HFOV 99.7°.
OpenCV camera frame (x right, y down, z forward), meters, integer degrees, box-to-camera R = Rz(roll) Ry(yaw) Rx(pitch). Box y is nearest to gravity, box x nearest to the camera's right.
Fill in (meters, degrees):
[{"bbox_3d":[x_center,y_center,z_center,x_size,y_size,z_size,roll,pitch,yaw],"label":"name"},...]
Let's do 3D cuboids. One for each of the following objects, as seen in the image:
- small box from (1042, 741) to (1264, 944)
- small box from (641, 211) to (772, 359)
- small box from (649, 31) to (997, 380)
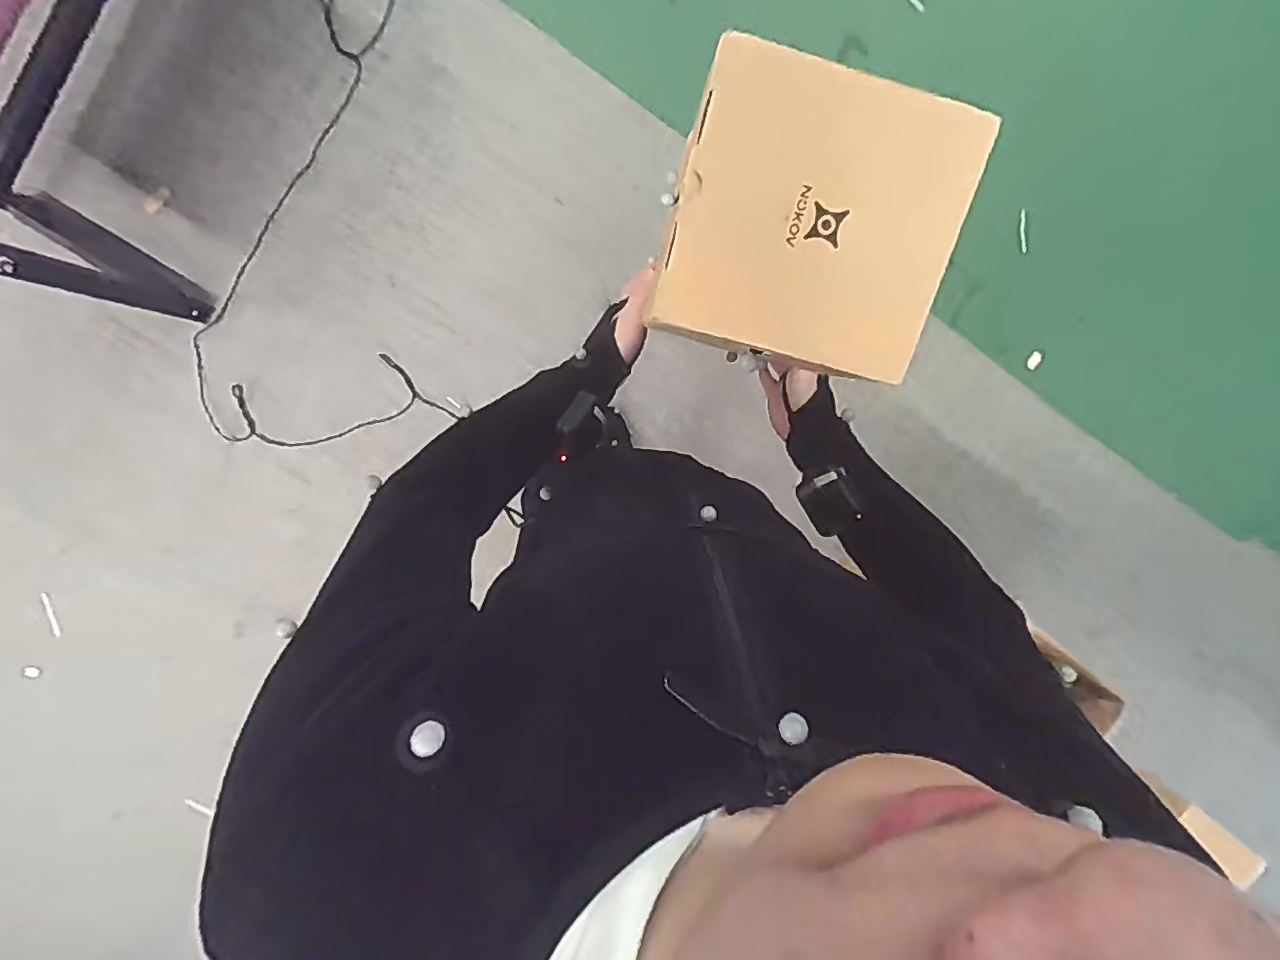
[{"bbox_3d":[0.813,0.577,0.884,0.168,0.176,0.179,37,93,-5],"label":"small box"},{"bbox_3d":[0.106,-0.271,0.729,0.179,0.176,0.168,15,103,-5],"label":"small box"},{"bbox_3d":[0.111,-0.184,0.414,0.179,0.176,0.168,13,104,-4],"label":"small box"}]
